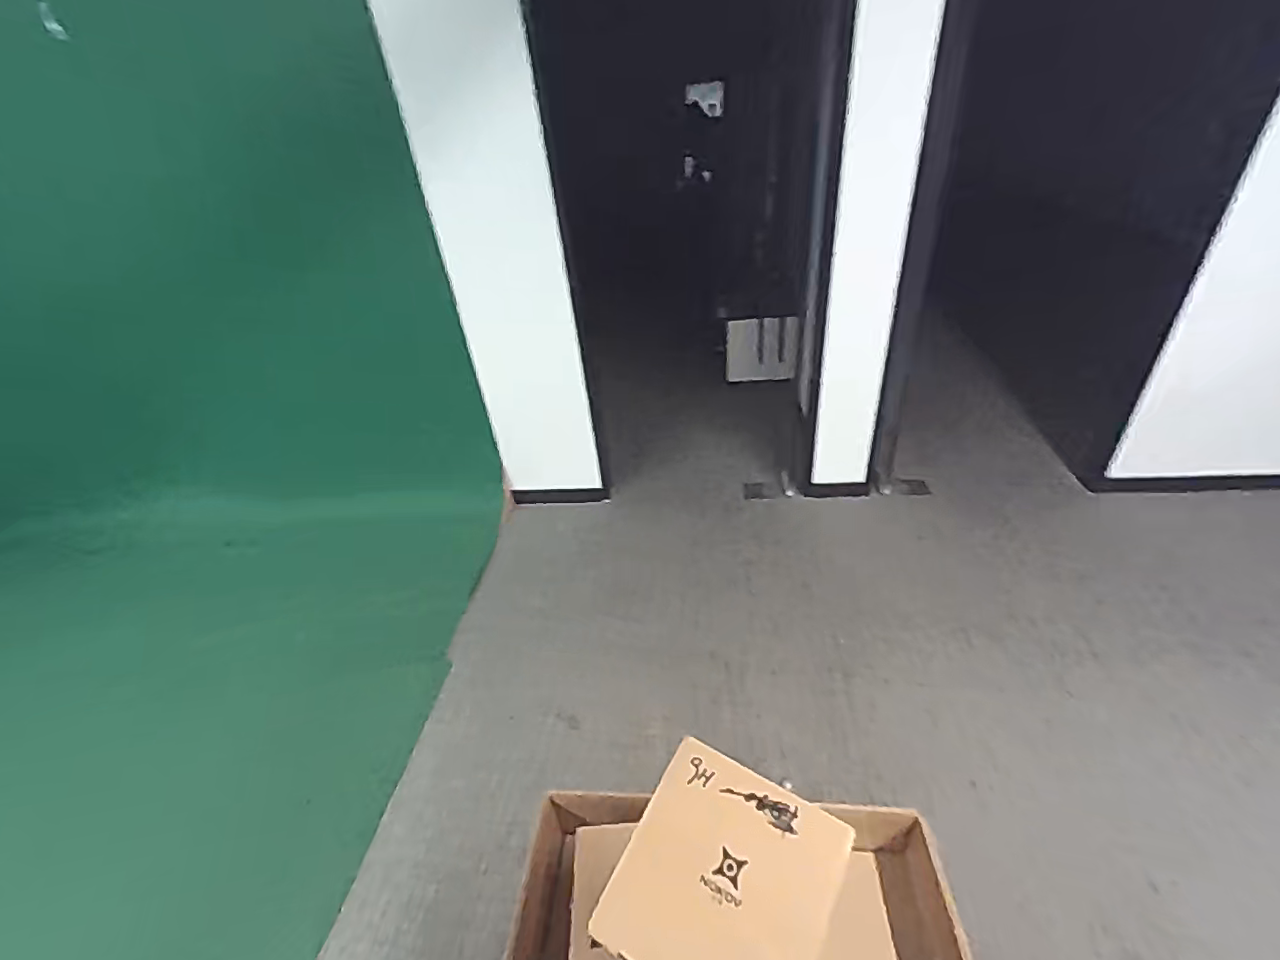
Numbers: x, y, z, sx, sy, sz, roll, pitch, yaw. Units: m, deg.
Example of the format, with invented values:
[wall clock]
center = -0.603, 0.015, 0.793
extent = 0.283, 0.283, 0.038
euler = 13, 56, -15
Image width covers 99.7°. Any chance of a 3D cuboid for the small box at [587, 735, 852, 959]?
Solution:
[small box]
center = 0.080, 0.381, 0.498
extent = 0.168, 0.176, 0.179
euler = 18, 52, 27
